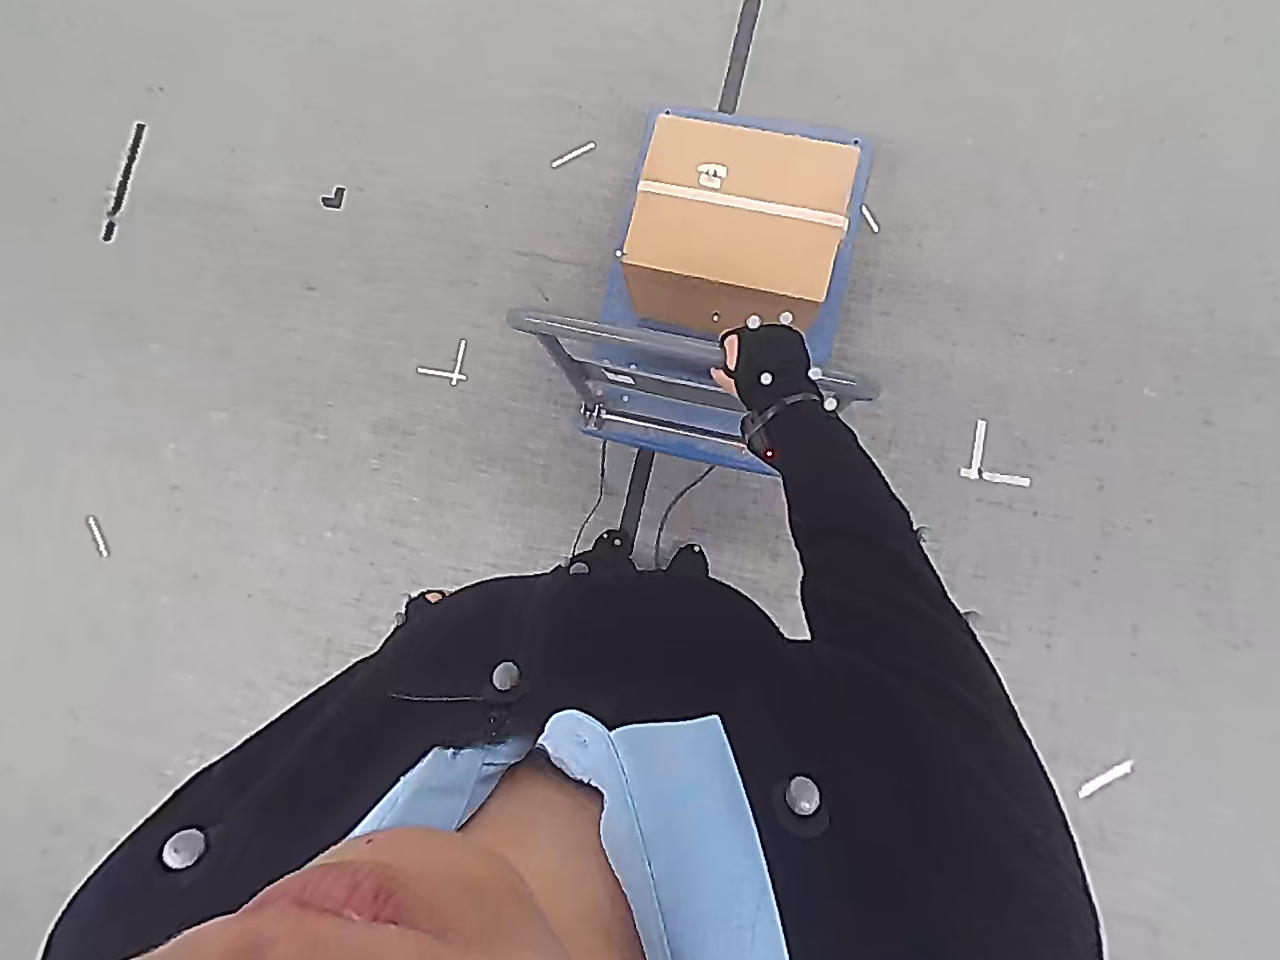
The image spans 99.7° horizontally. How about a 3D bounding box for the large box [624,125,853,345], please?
[{"bbox_3d":[0.212,-0.526,1.216,0.408,0.320,0.320,13,87,8],"label":"large box"}]
